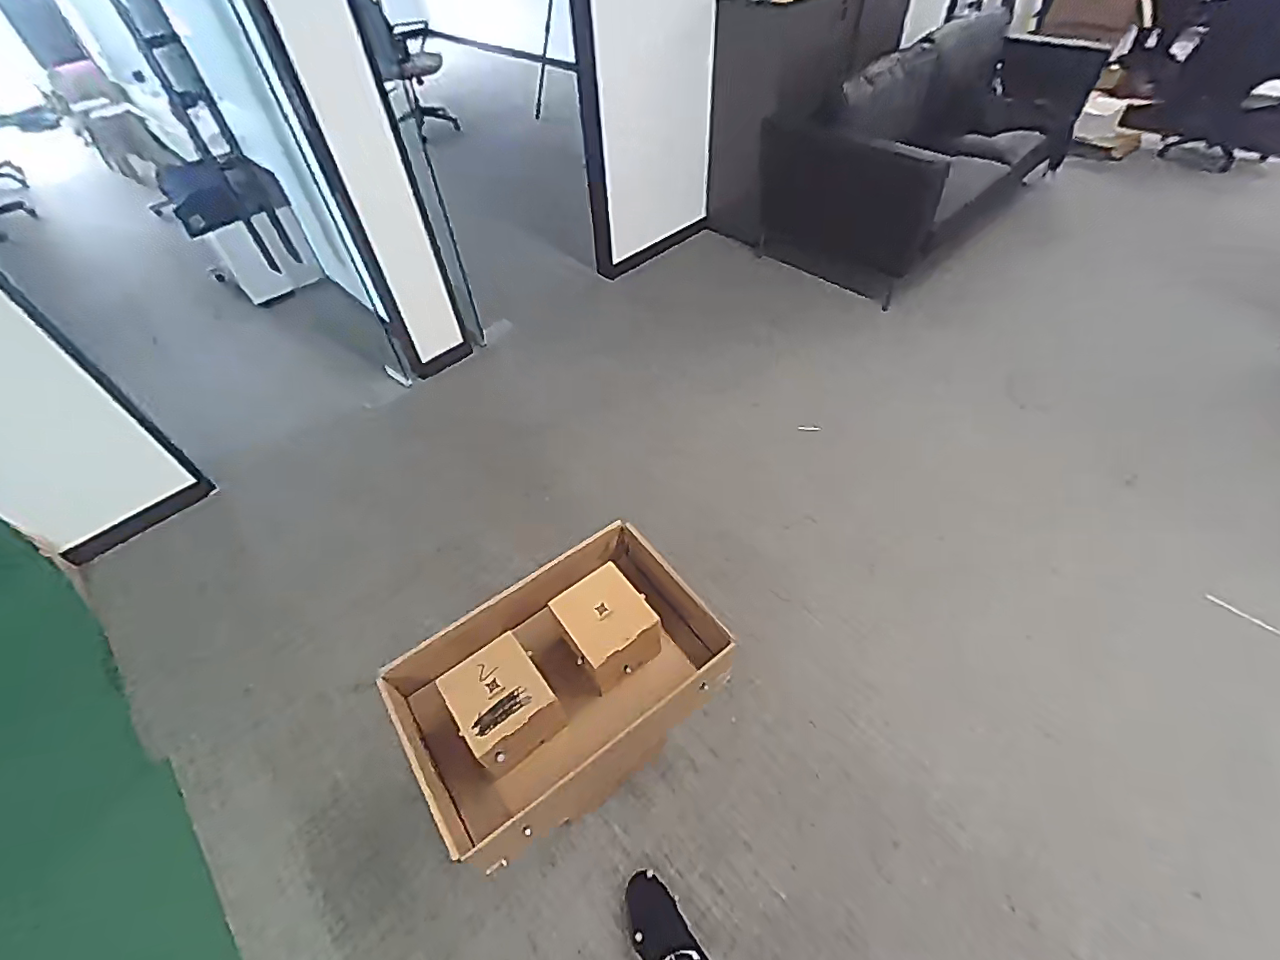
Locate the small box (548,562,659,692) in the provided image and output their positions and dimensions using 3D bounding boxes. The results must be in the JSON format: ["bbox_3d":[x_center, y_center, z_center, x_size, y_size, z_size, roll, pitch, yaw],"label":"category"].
[{"bbox_3d":[-0.076,0.318,1.158,0.168,0.176,0.179,-31,58,-22],"label":"small box"}]
